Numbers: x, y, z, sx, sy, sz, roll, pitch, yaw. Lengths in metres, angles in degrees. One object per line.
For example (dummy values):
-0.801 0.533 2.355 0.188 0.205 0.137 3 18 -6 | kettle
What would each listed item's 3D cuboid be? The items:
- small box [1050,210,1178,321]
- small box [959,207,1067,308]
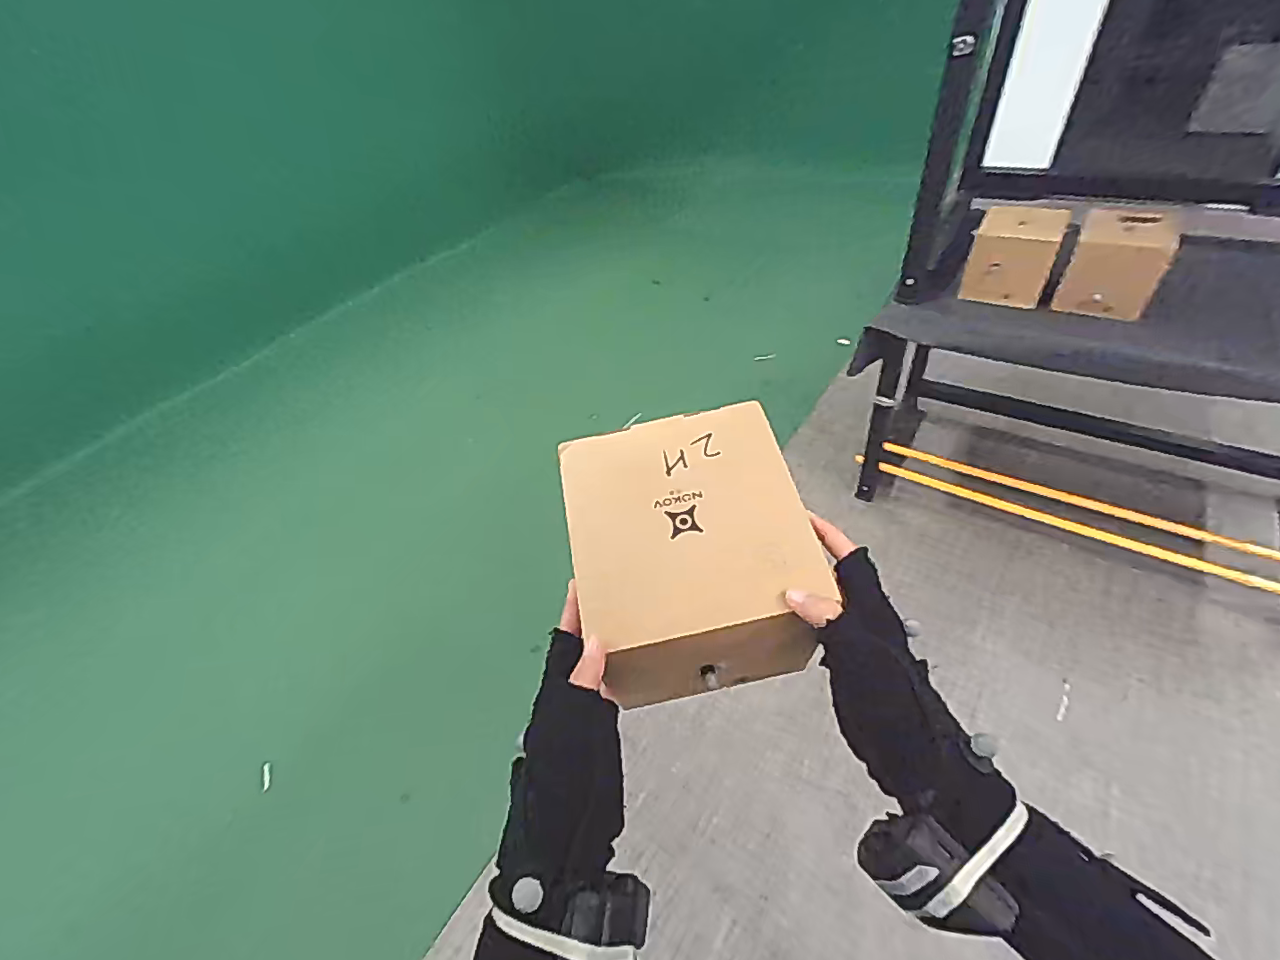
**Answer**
1.065 -0.487 1.224 0.168 0.176 0.179 21 54 29 | small box
0.897 -0.539 1.311 0.168 0.176 0.179 20 52 28 | small box
